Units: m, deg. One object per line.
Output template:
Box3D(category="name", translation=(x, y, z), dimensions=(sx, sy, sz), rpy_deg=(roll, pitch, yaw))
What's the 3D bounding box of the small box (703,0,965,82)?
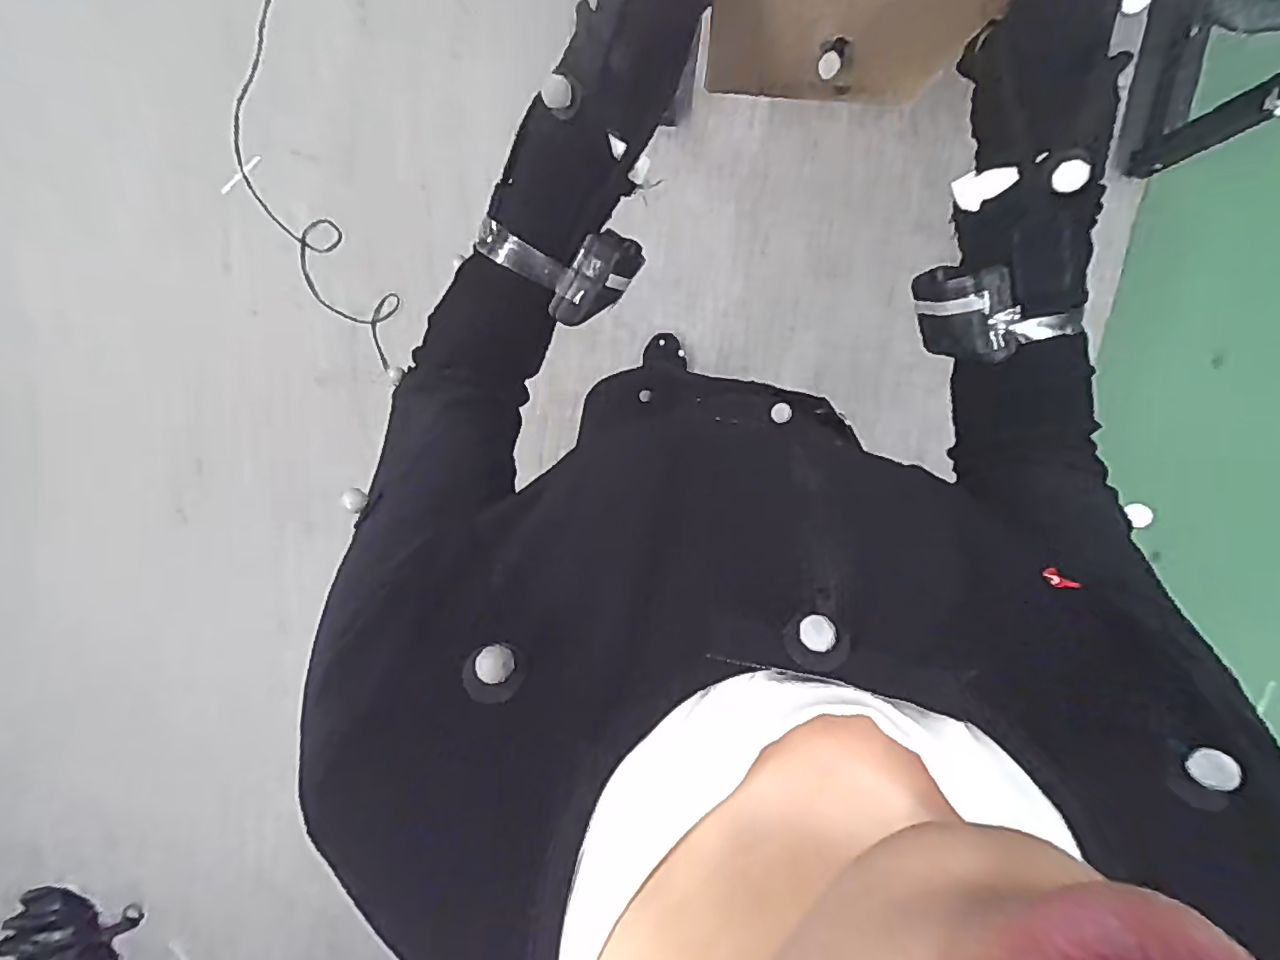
Box3D(category="small box", translation=(0.129, -0.378, 0.331), dimensions=(0.168, 0.176, 0.179), rpy_deg=(6, 105, 4))
